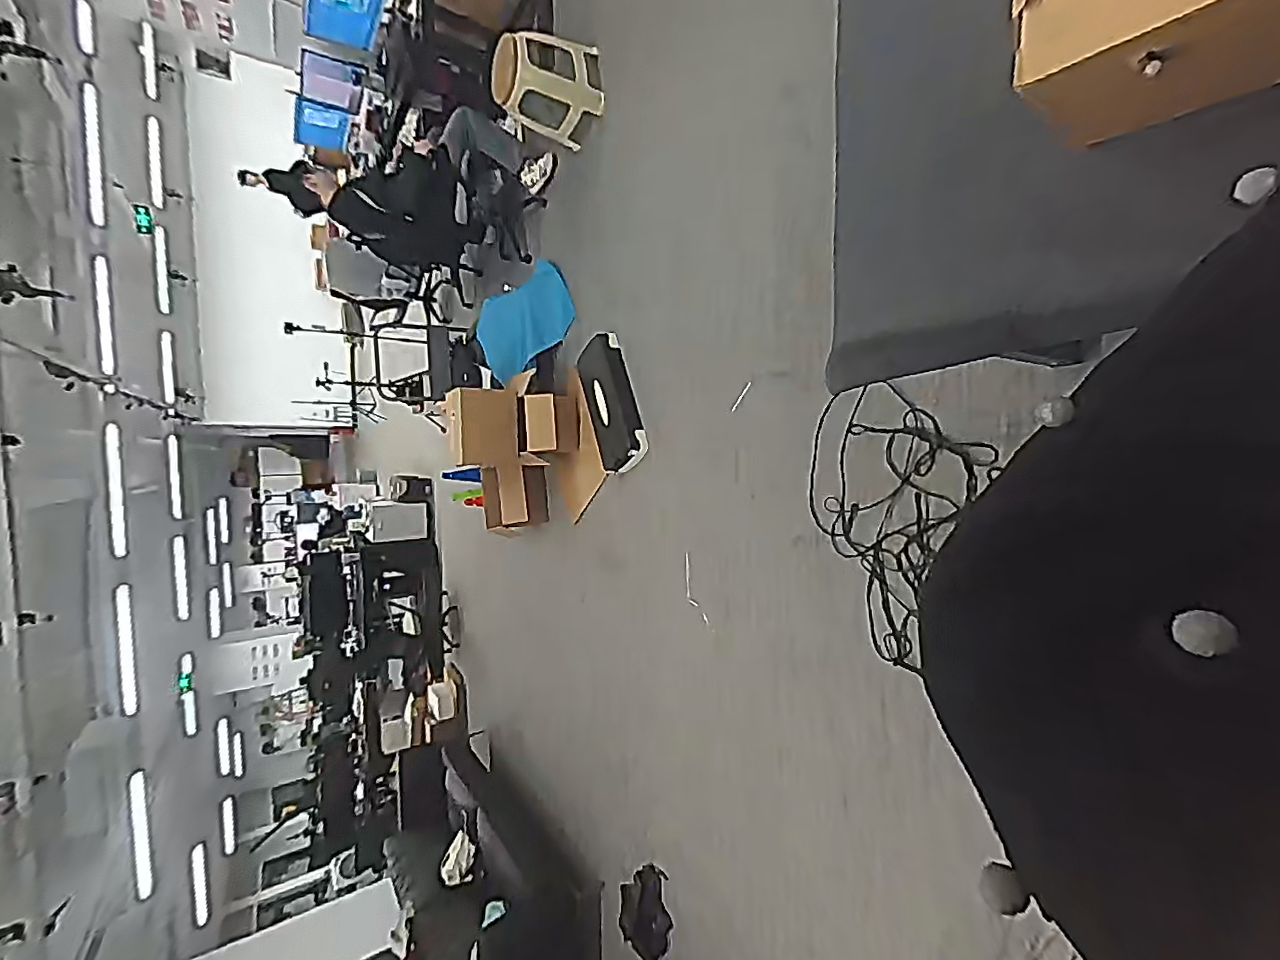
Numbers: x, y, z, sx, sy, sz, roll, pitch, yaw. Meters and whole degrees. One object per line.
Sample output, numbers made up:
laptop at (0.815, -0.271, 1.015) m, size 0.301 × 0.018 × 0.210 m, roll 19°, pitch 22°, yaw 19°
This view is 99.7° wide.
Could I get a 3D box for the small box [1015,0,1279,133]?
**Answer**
small box at (0.437, -0.411, 0.426) m, size 0.179 × 0.176 × 0.168 m, roll 11°, pitch 102°, yaw 55°
